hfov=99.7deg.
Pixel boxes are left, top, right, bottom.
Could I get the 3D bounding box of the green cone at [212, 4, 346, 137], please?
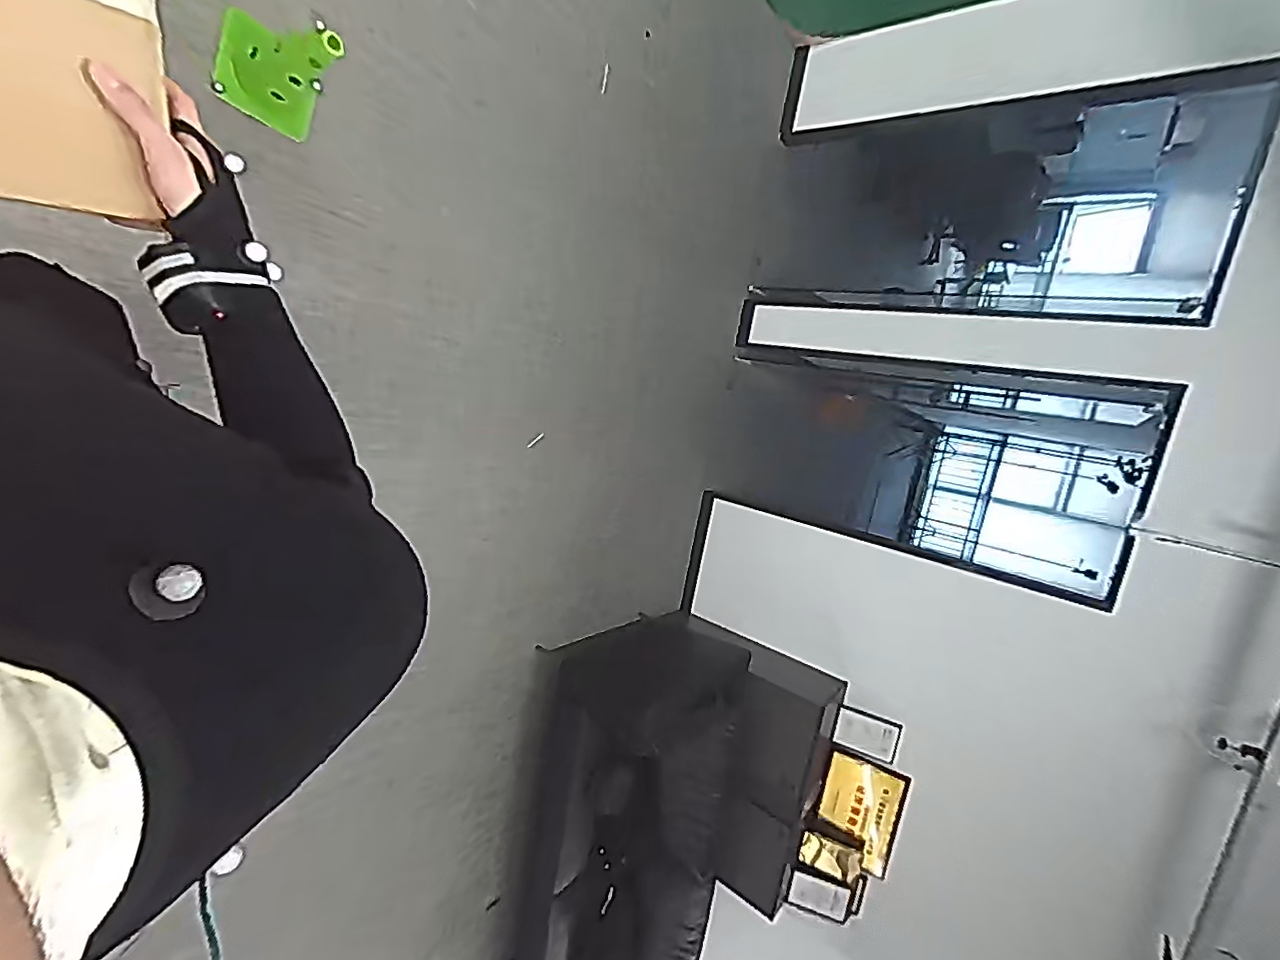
[{"bbox_3d":[-0.748,-0.927,1.187,0.200,0.368,0.202,9,95,-55],"label":"green cone"}]
